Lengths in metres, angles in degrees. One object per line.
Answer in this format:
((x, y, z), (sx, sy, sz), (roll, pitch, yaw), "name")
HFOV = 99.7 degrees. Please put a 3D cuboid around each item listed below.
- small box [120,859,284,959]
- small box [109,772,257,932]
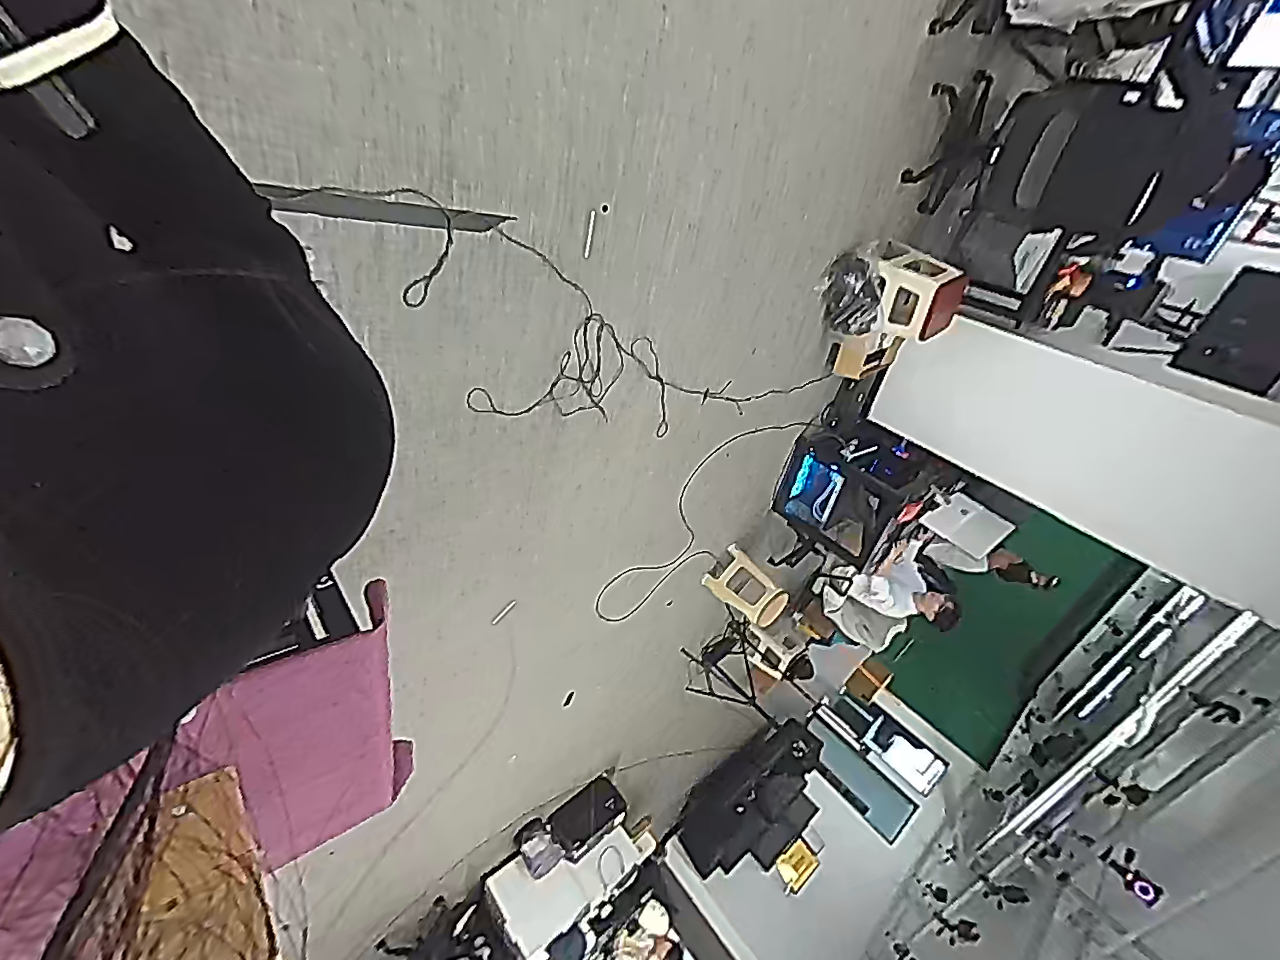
((-0.636, 0.714, 0.799), (0.168, 0.176, 0.179), (-13, 131, -42), "small box")
((-0.742, 0.631, 0.892), (0.168, 0.176, 0.179), (-14, 130, -41), "small box")
